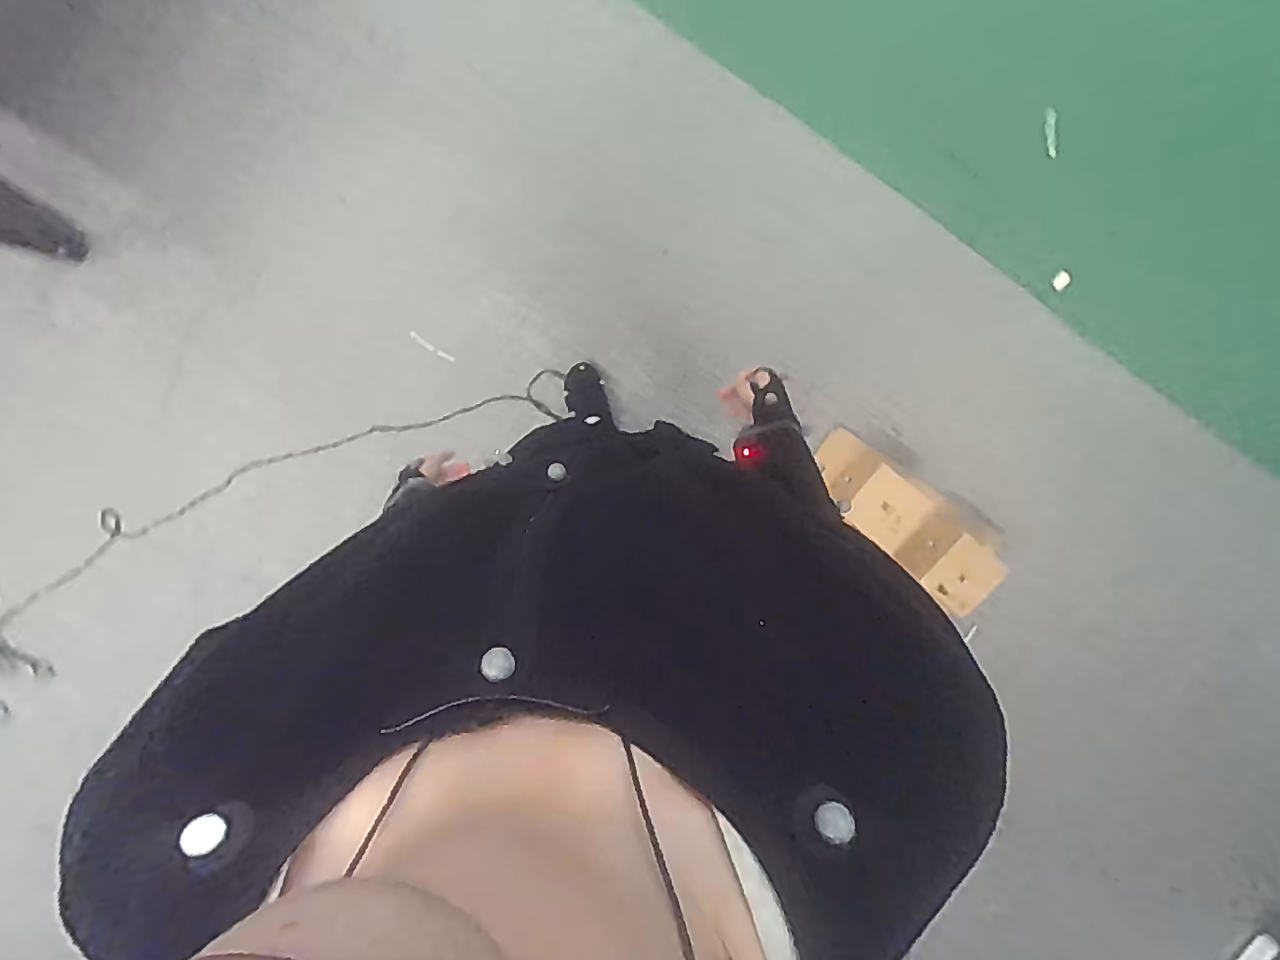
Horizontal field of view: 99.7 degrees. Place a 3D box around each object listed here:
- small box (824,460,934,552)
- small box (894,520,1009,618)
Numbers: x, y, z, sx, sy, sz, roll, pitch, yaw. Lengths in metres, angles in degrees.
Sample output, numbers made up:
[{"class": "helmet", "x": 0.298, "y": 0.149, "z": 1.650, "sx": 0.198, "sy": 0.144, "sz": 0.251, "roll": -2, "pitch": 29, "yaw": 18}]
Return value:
[{"class": "small box", "x": 0.623, "y": 0.060, "z": 1.435, "sx": 0.179, "sy": 0.176, "sz": 0.168, "roll": 38, "pitch": 97, "yaw": -7}, {"class": "small box", "x": 0.836, "y": 0.234, "z": 1.470, "sx": 0.168, "sy": 0.176, "sz": 0.179, "roll": 39, "pitch": 96, "yaw": -7}]
